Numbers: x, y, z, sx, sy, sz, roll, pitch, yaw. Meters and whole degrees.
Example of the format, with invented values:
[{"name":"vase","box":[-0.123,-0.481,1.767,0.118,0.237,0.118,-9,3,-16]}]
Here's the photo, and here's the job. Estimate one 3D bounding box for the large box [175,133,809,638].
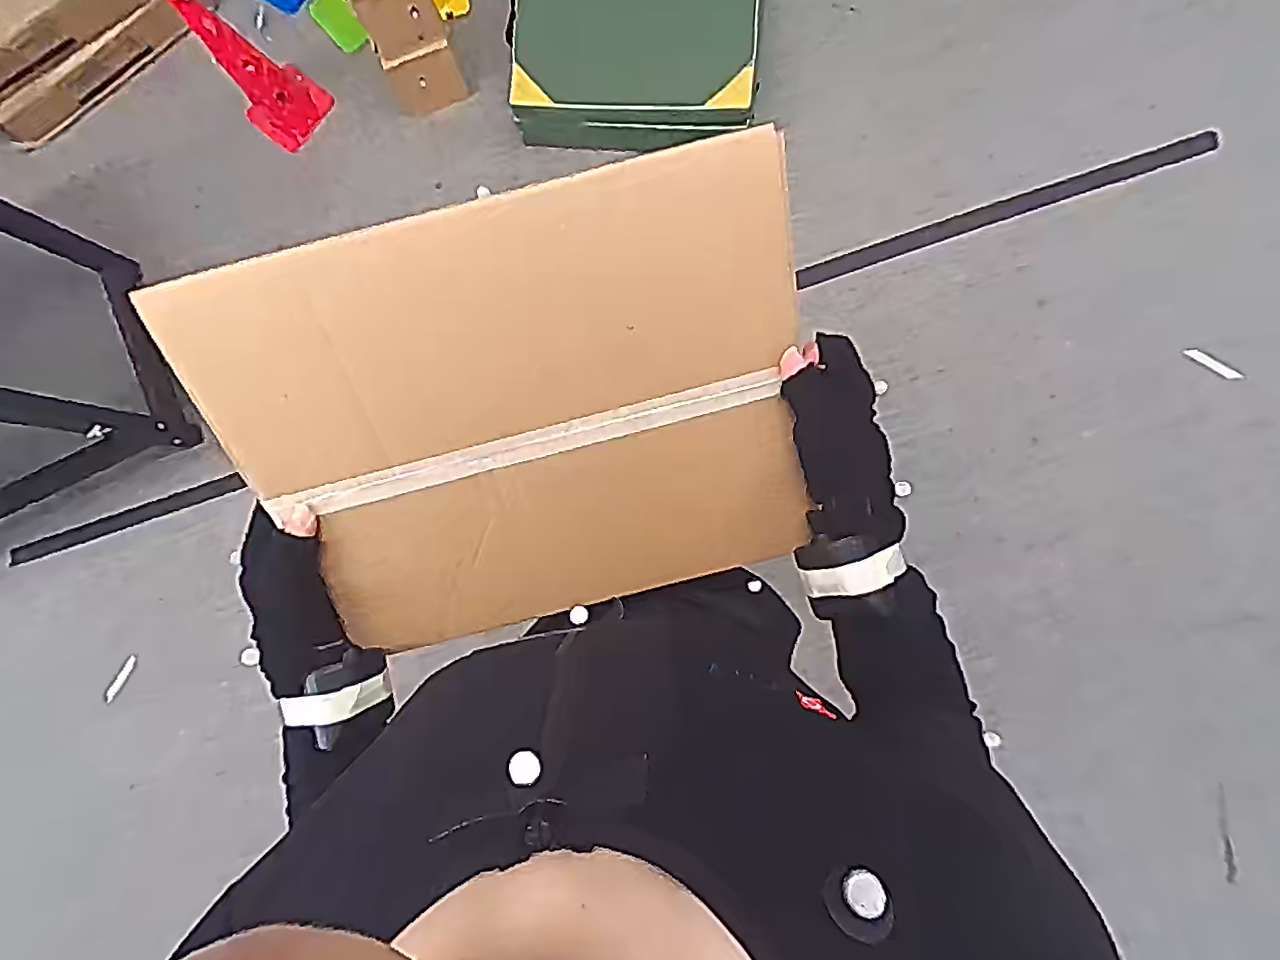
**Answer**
[{"name":"large box","box":[-0.090,-0.106,0.543,0.408,0.320,0.320,-15,117,1]}]
